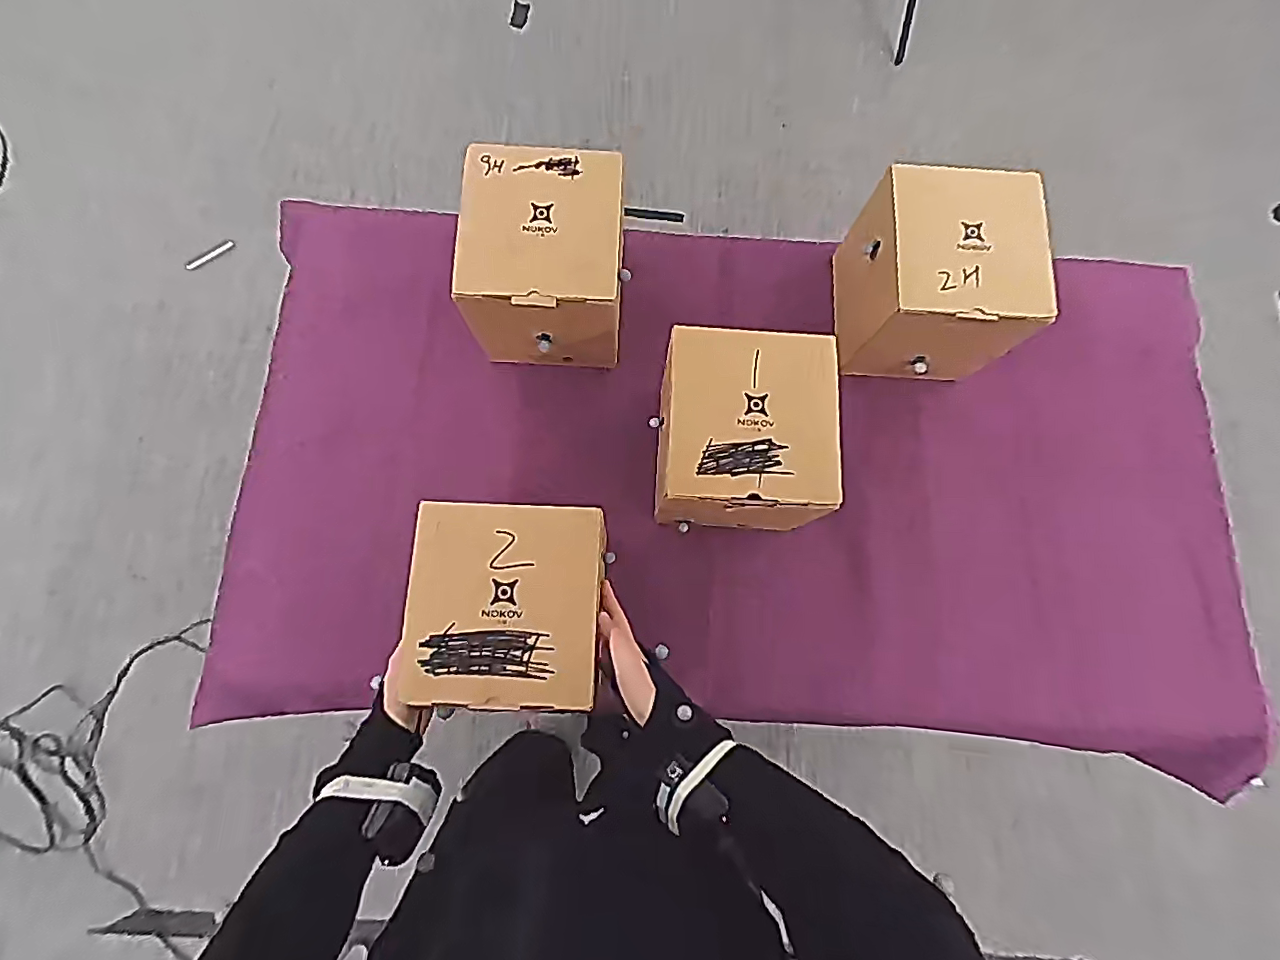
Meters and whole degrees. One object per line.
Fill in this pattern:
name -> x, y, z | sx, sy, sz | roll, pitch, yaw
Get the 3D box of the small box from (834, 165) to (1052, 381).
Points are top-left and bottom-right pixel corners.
small box -> 0.342, -0.236, 0.647 | 0.168, 0.176, 0.179 | 3, 79, -1

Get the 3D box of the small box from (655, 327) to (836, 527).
small box -> 0.106, -0.046, 0.599 | 0.168, 0.176, 0.179 | 4, 77, -1

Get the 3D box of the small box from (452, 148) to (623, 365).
small box -> -0.106, -0.246, 0.633 | 0.168, 0.176, 0.179 | 3, 80, -2
